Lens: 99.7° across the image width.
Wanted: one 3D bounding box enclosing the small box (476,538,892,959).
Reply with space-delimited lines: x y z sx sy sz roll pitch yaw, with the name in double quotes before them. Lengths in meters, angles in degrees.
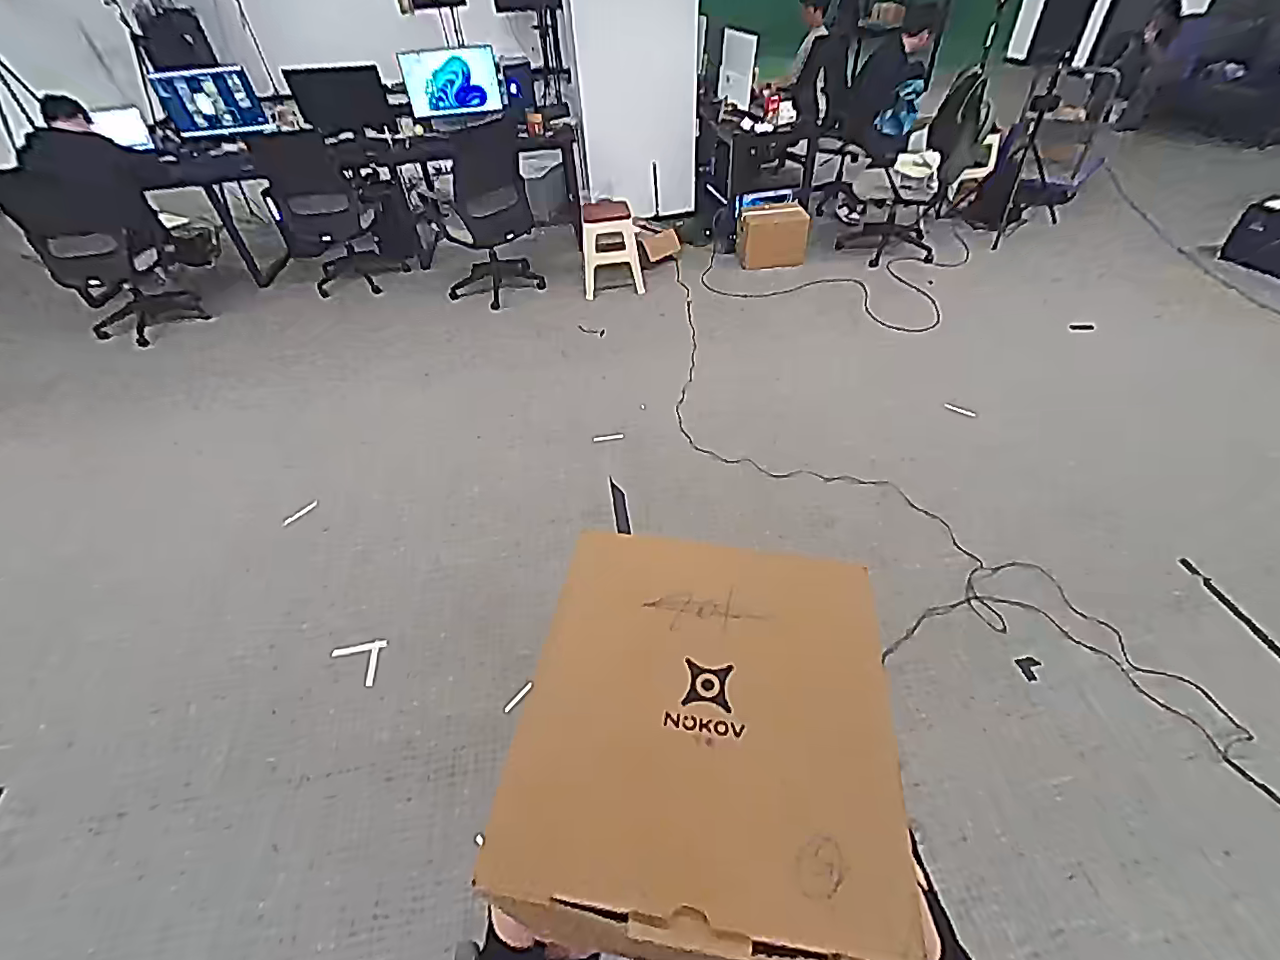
"small box" 0.027 0.162 0.321 0.168 0.176 0.179 7 45 6
